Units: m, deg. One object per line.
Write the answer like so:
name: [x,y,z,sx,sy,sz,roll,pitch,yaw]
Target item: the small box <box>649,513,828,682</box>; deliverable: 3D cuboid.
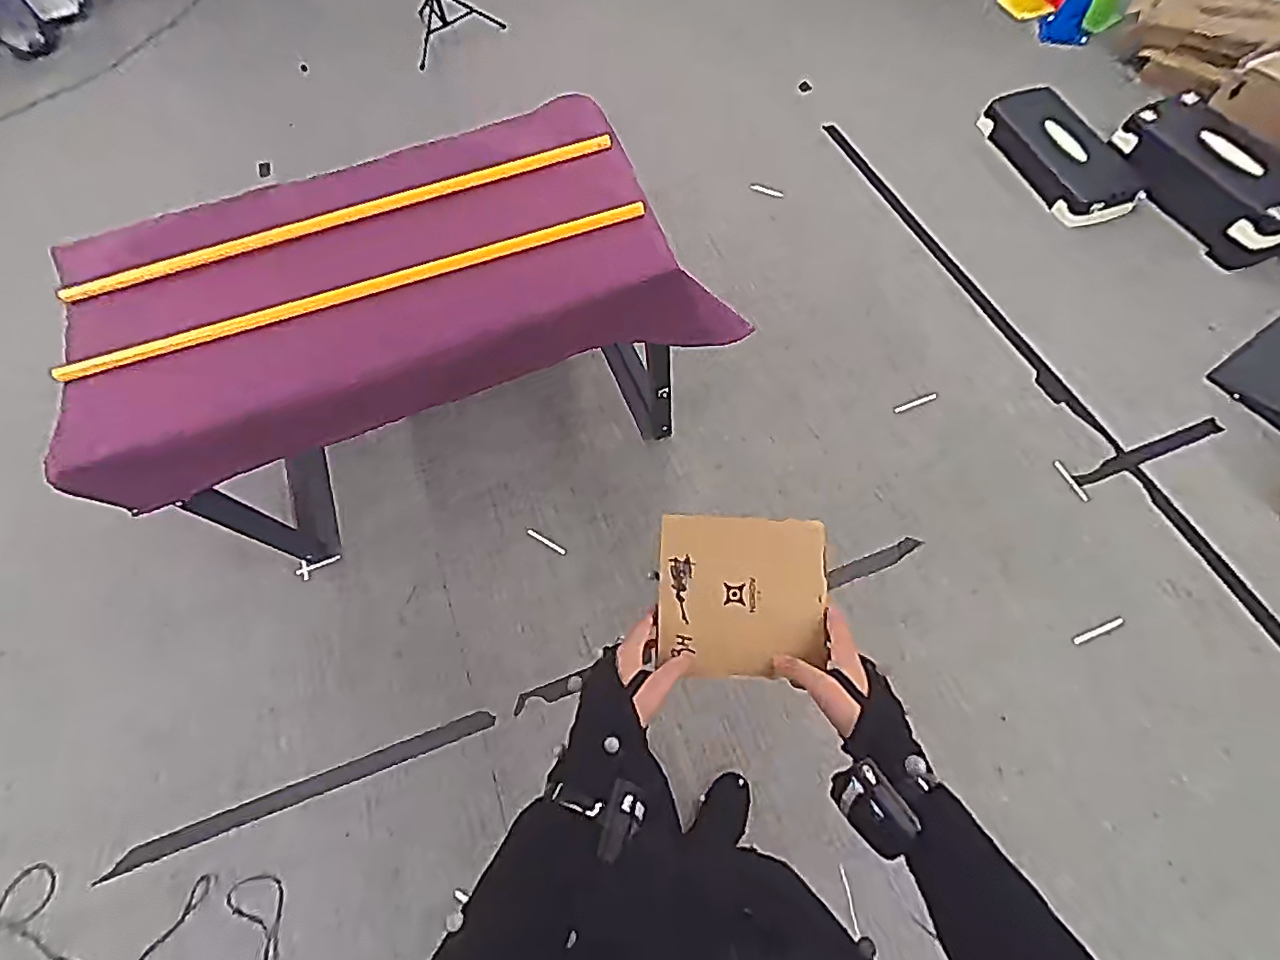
small box: [0.104,0.133,0.635,0.179,0.176,0.168,3,79,0]
